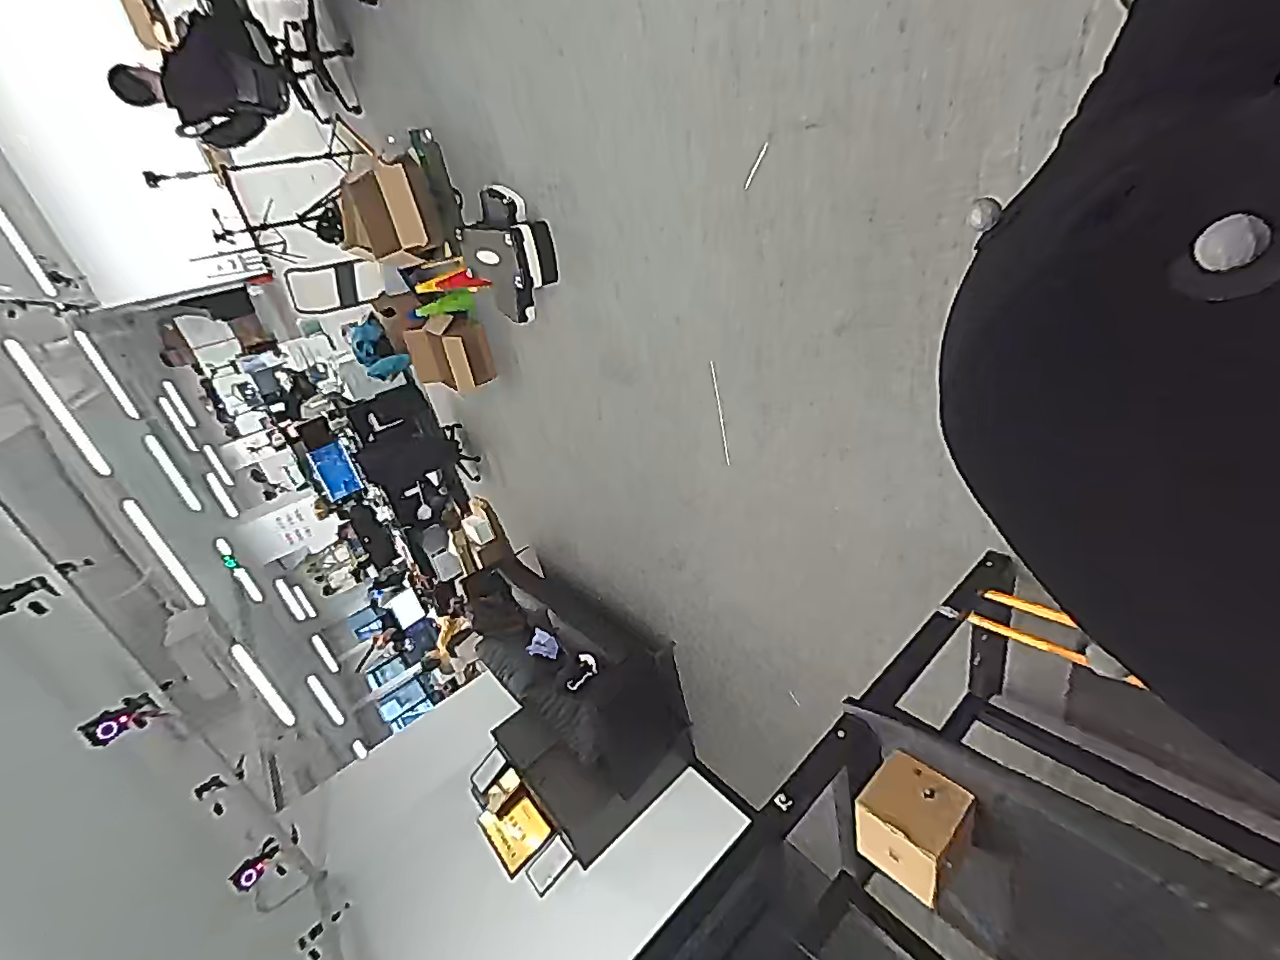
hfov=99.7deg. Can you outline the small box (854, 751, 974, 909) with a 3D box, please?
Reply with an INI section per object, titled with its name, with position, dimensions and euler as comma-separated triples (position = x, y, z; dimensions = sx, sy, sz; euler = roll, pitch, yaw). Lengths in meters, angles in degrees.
[small box]
position = 0.566, 0.712, 1.117
dimensions = 0.168, 0.176, 0.179
euler = 20, 131, 49
